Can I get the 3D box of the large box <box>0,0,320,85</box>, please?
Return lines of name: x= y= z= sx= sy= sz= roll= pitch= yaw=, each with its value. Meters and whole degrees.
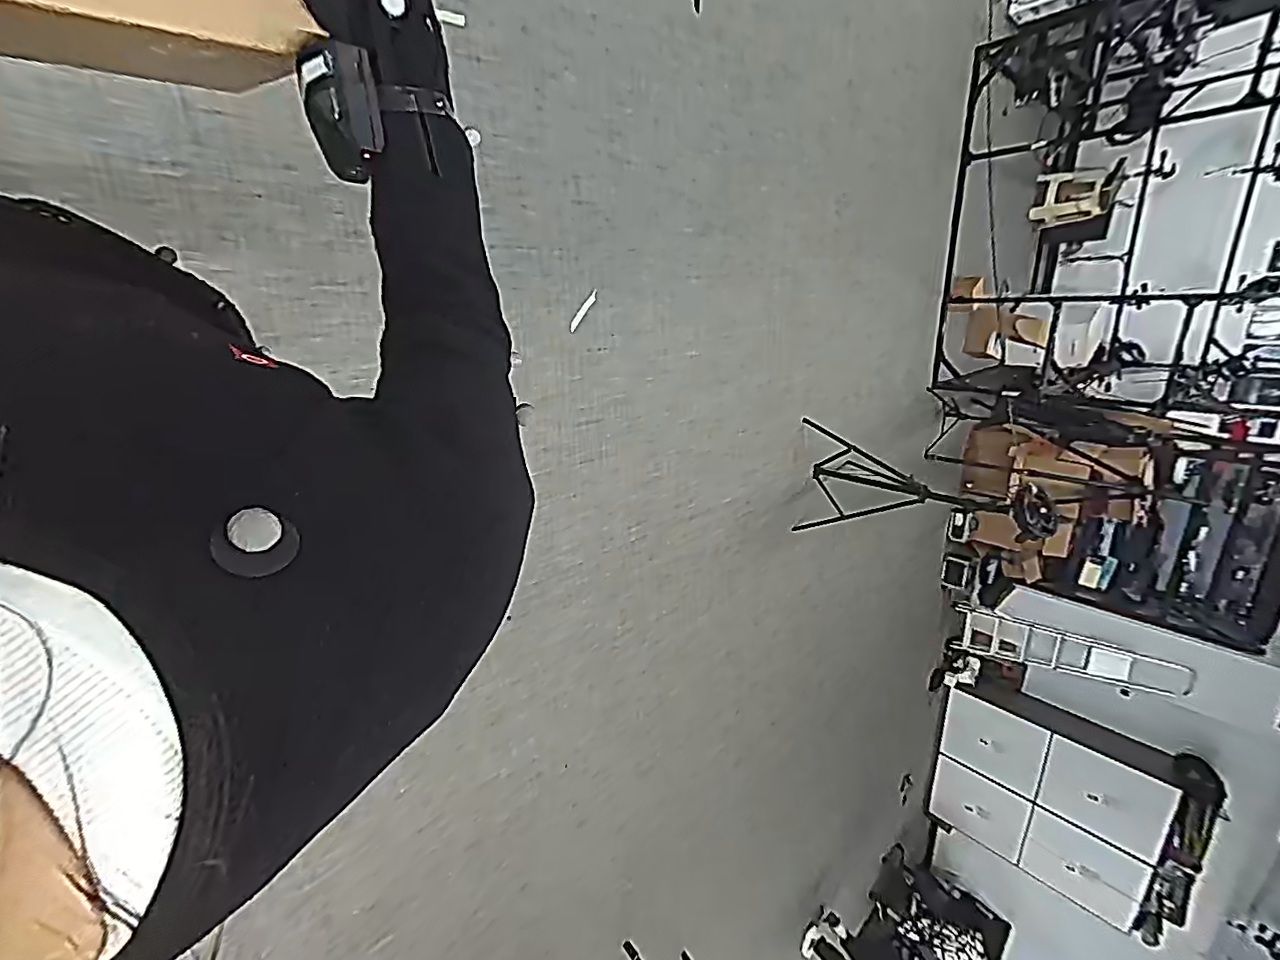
large box: x=-0.445 y=-0.417 z=0.258 sx=0.408 sy=0.320 sz=0.320 roll=-19 pitch=127 yaw=-38
